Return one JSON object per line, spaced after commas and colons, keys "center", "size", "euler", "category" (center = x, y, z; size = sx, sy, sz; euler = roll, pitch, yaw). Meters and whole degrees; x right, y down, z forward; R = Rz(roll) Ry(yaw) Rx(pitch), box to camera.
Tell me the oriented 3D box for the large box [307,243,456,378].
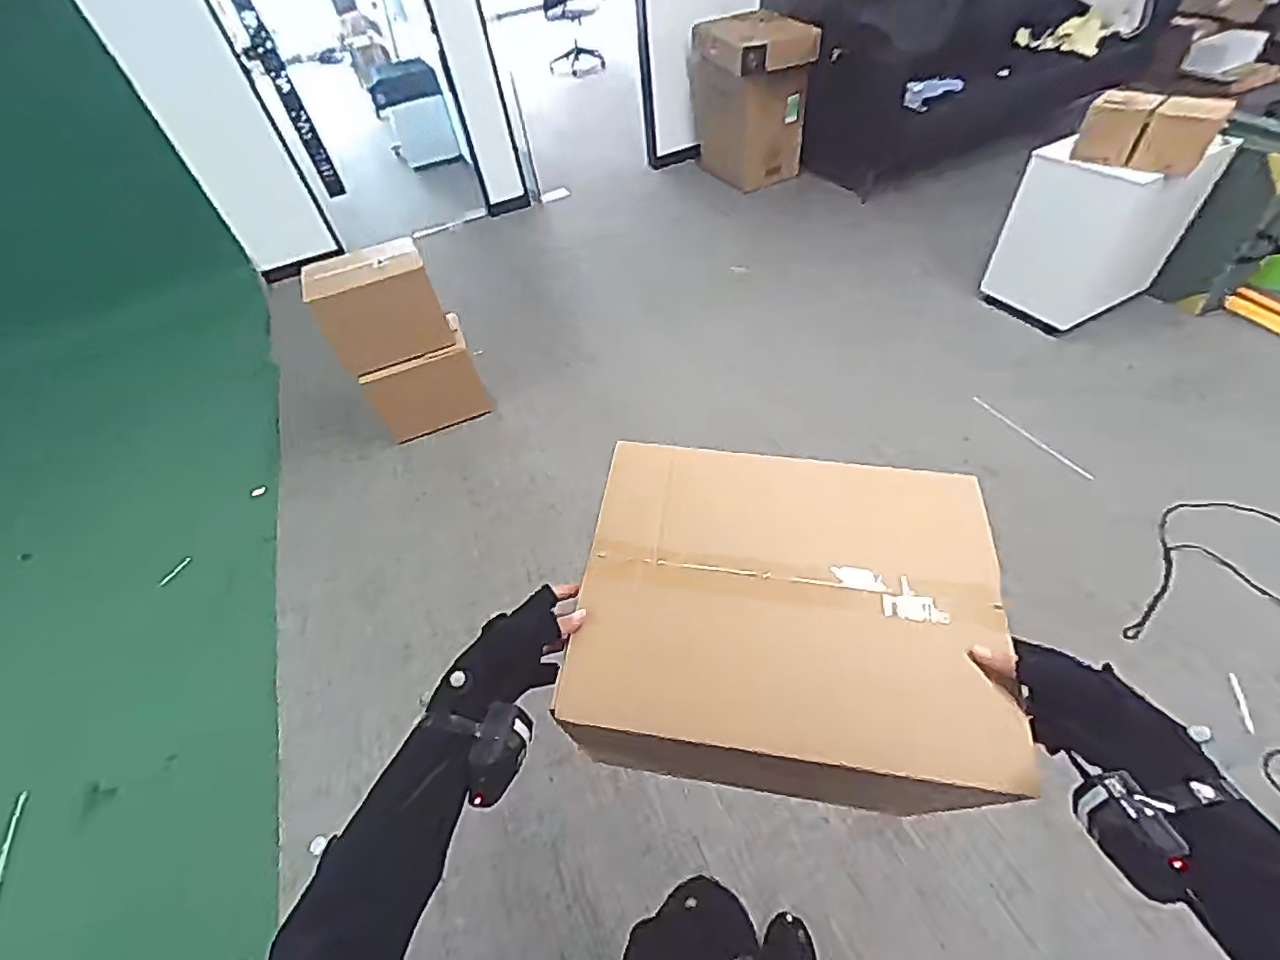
{"center": [-0.950, -0.630, 2.003], "size": [0.408, 0.320, 0.320], "euler": [-22, 47, -12], "category": "large box"}
